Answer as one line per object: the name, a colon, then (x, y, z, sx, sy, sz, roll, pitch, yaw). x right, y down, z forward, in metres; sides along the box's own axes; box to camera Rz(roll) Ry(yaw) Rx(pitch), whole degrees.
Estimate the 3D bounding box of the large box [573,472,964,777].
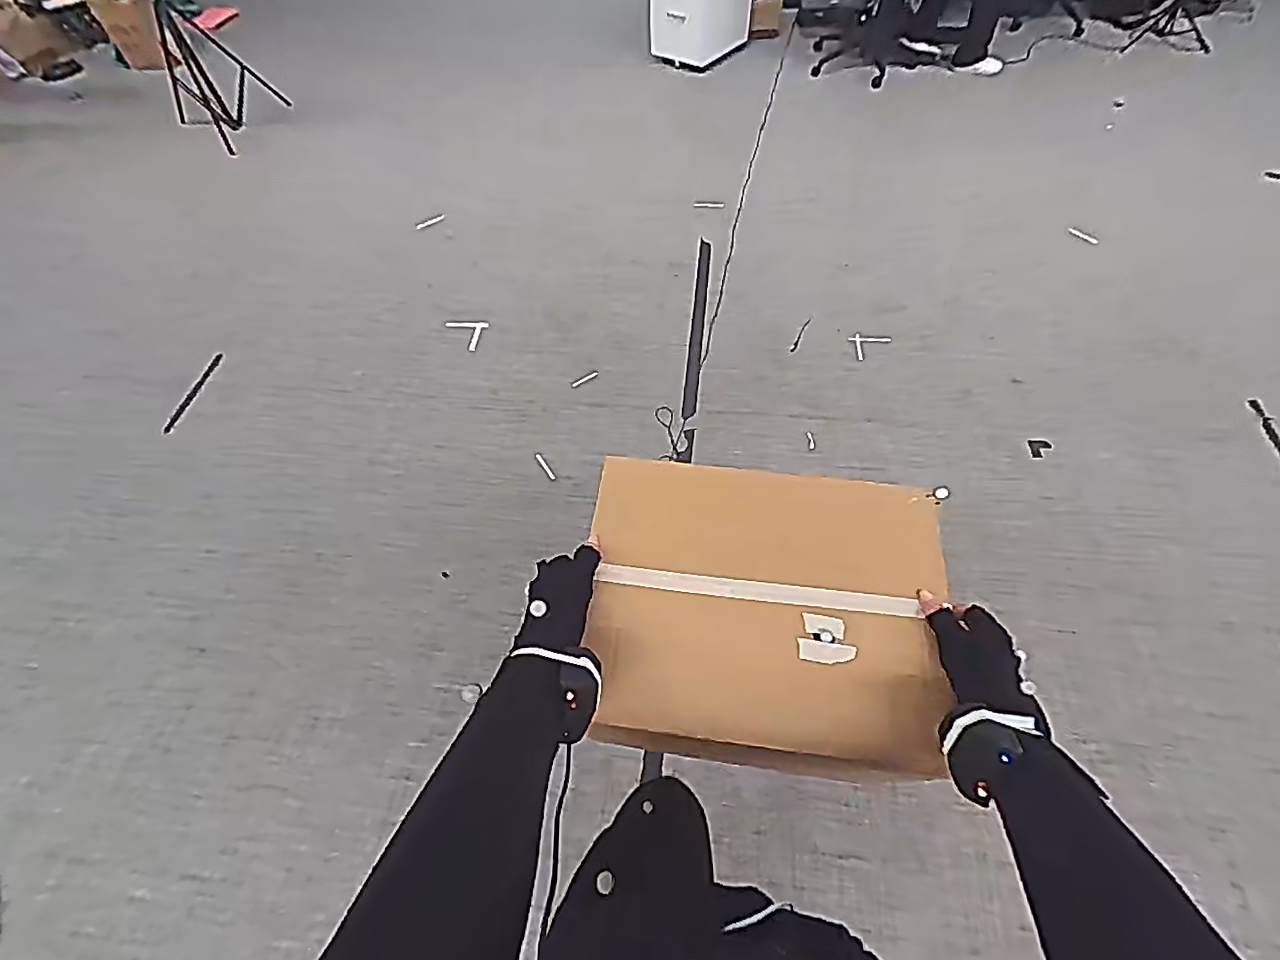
large box: (0.145, 0.210, 0.749, 0.408, 0.320, 0.320, 6, 61, 5)
